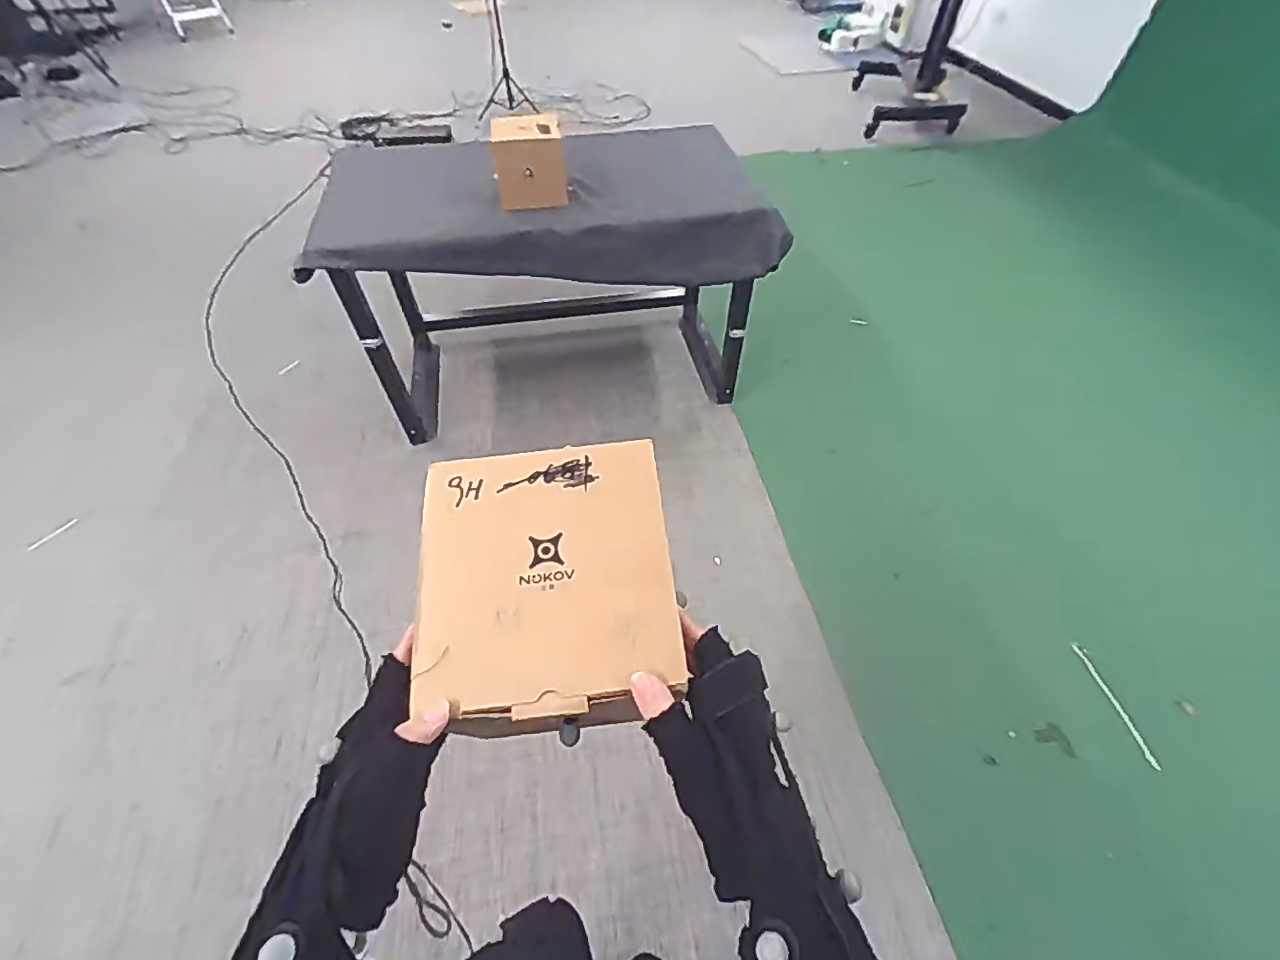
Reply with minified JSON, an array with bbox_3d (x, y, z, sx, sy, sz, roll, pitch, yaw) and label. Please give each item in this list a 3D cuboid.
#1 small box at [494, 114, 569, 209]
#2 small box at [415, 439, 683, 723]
[{"bbox_3d":[-0.282,-0.846,1.439,0.179,0.176,0.168,-7,52,-5],"label":"small box"},{"bbox_3d":[-0.059,0.090,0.428,0.168,0.176,0.179,-6,63,-2],"label":"small box"}]
